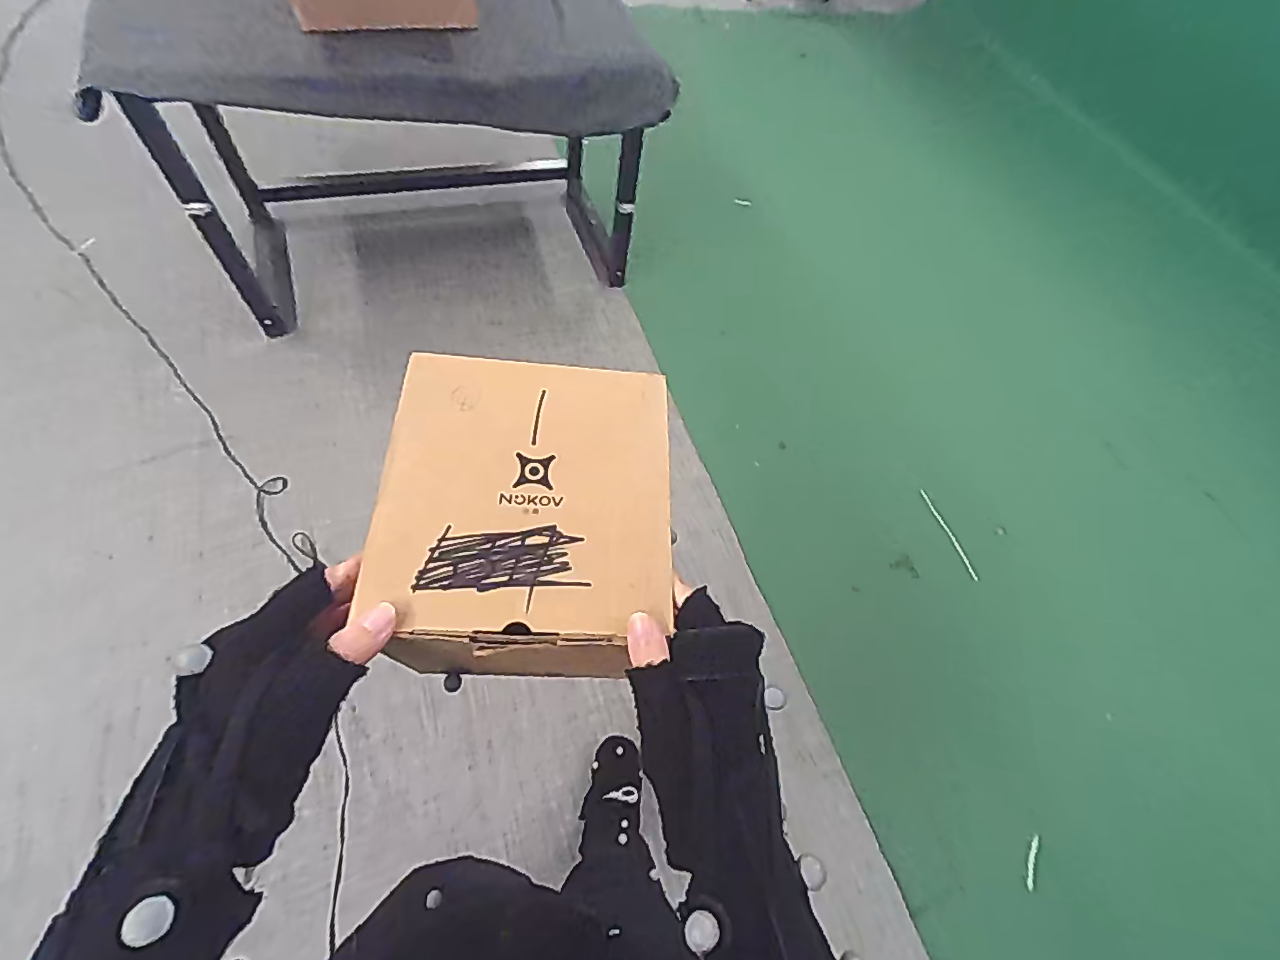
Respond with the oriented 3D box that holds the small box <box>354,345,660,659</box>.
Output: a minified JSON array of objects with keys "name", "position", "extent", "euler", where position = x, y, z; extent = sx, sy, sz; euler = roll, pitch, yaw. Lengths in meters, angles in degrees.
[{"name":"small box","position":[-0.079,0.029,0.395],"extent":[0.168,0.176,0.179],"euler":[3,62,-8]}]
